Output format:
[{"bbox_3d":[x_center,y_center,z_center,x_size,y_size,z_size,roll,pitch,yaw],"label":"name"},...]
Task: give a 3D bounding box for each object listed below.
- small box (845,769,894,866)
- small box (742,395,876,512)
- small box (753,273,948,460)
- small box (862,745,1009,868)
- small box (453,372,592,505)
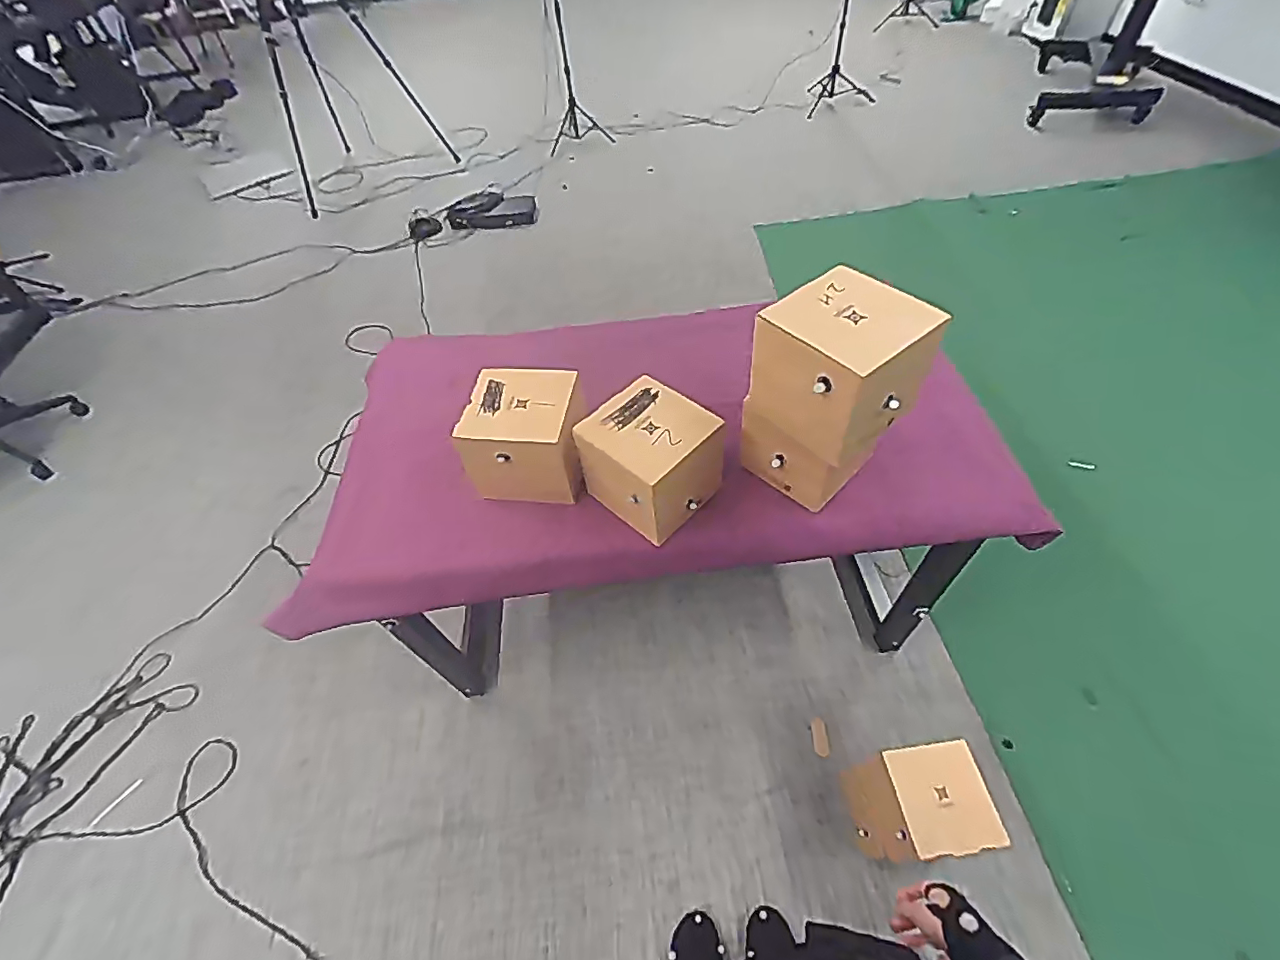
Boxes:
[{"bbox_3d":[0.560,0.730,1.174,0.179,0.176,0.168,-6,52,1],"label":"small box"},{"bbox_3d":[0.288,-0.079,0.906,0.179,0.176,0.168,-39,58,-22],"label":"small box"},{"bbox_3d":[0.277,-0.151,0.753,0.168,0.176,0.179,-32,54,-19],"label":"small box"},{"bbox_3d":[0.553,0.633,1.045,0.168,0.176,0.179,-8,53,-1],"label":"small box"},{"bbox_3d":[-0.194,-0.070,0.950,0.179,0.176,0.168,4,53,8],"label":"small box"}]
